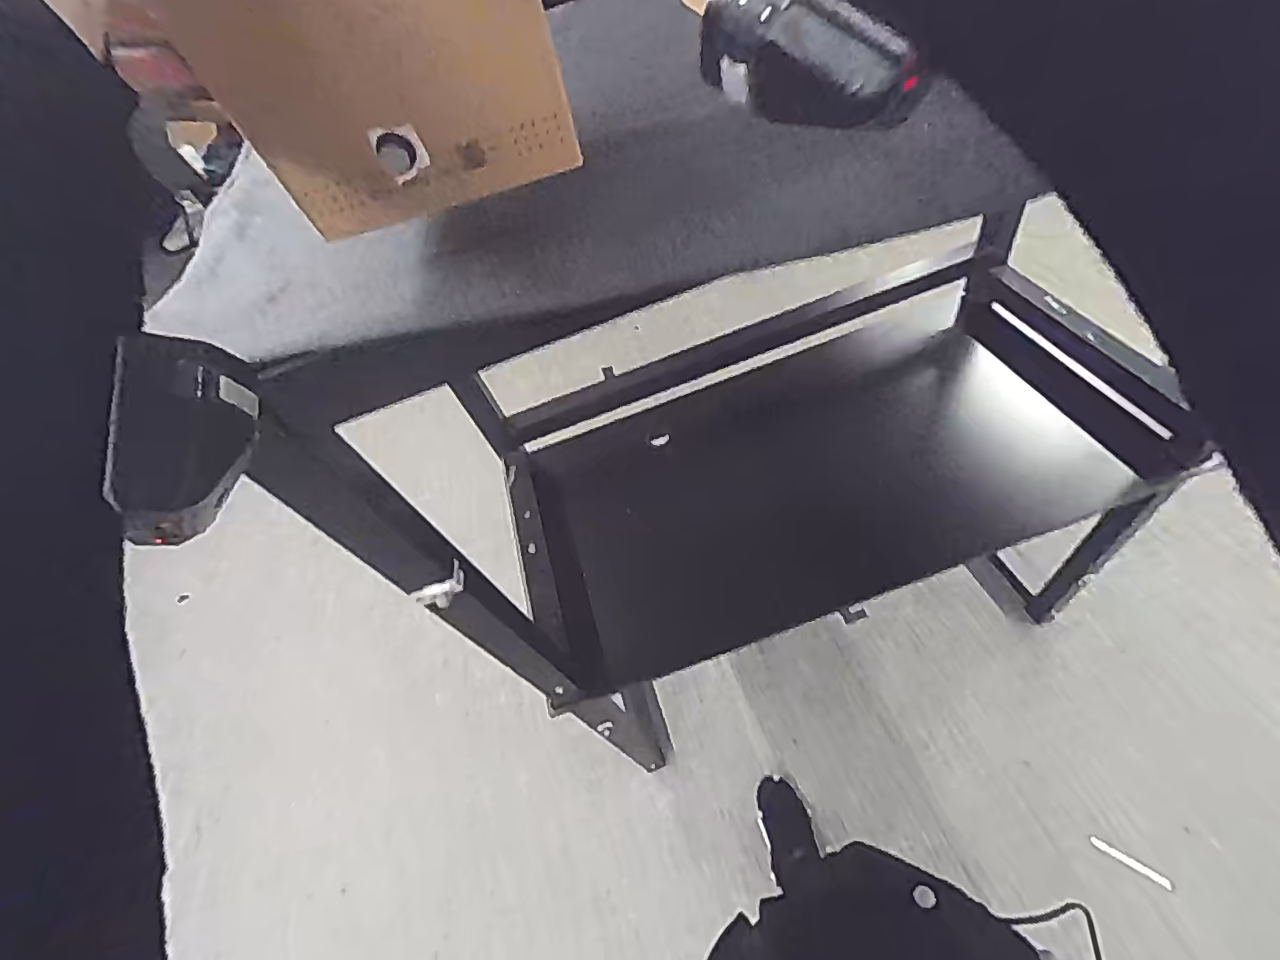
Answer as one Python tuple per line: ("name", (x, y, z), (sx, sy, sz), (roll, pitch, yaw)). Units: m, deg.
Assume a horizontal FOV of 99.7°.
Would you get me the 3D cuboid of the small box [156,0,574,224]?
("small box", (-0.146, -0.275, 0.288), (0.168, 0.176, 0.179), (-18, 59, 1))
